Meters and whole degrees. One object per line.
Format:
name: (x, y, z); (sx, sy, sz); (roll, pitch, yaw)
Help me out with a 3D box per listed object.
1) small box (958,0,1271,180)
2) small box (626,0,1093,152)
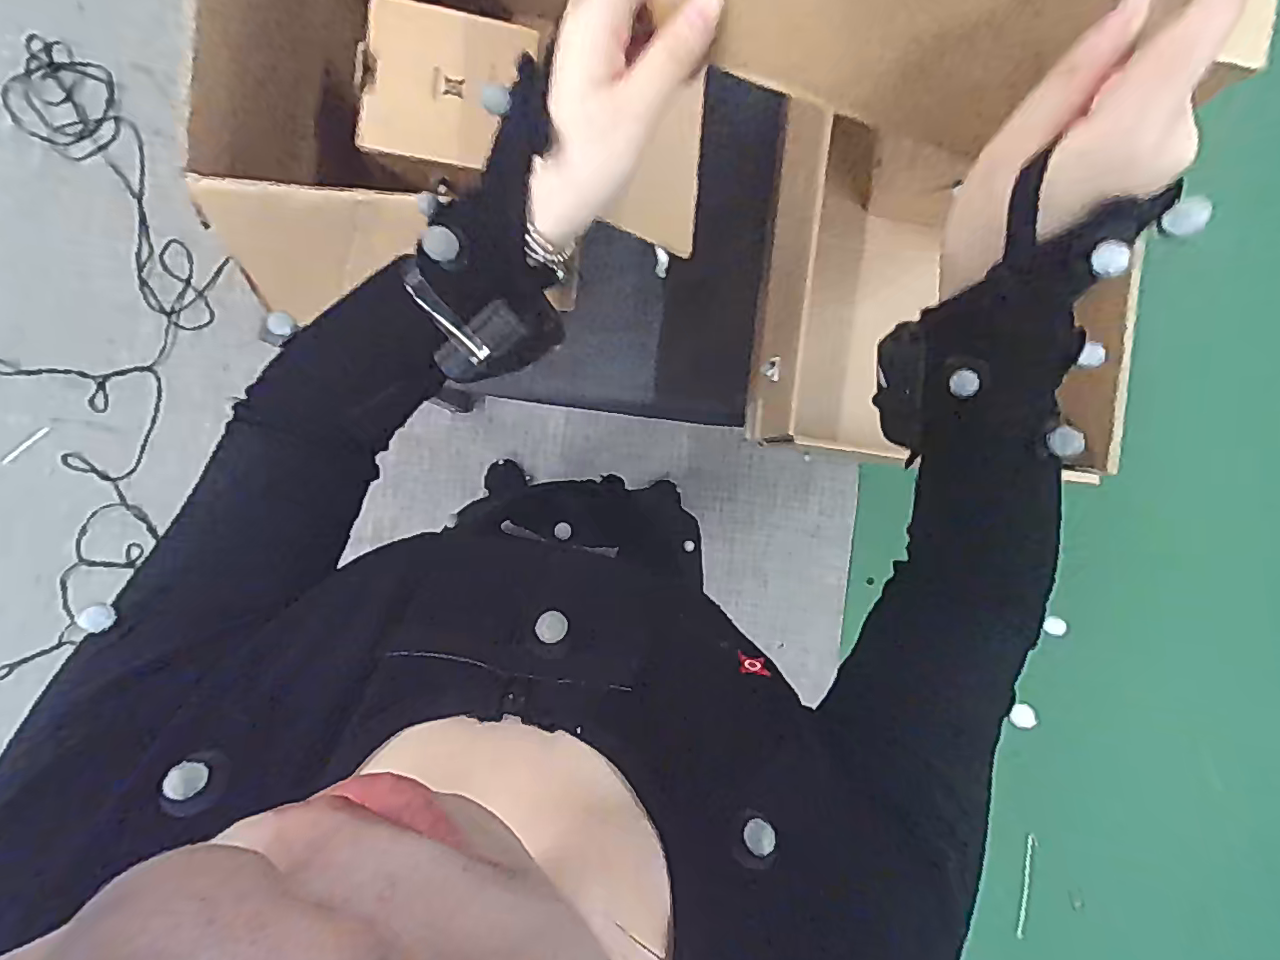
small box: (0.430, -0.426, 0.514); (0.168, 0.176, 0.179); (8, 92, -4)
small box: (0.111, -0.279, 0.206); (0.179, 0.168, 0.176); (20, 69, 0)
